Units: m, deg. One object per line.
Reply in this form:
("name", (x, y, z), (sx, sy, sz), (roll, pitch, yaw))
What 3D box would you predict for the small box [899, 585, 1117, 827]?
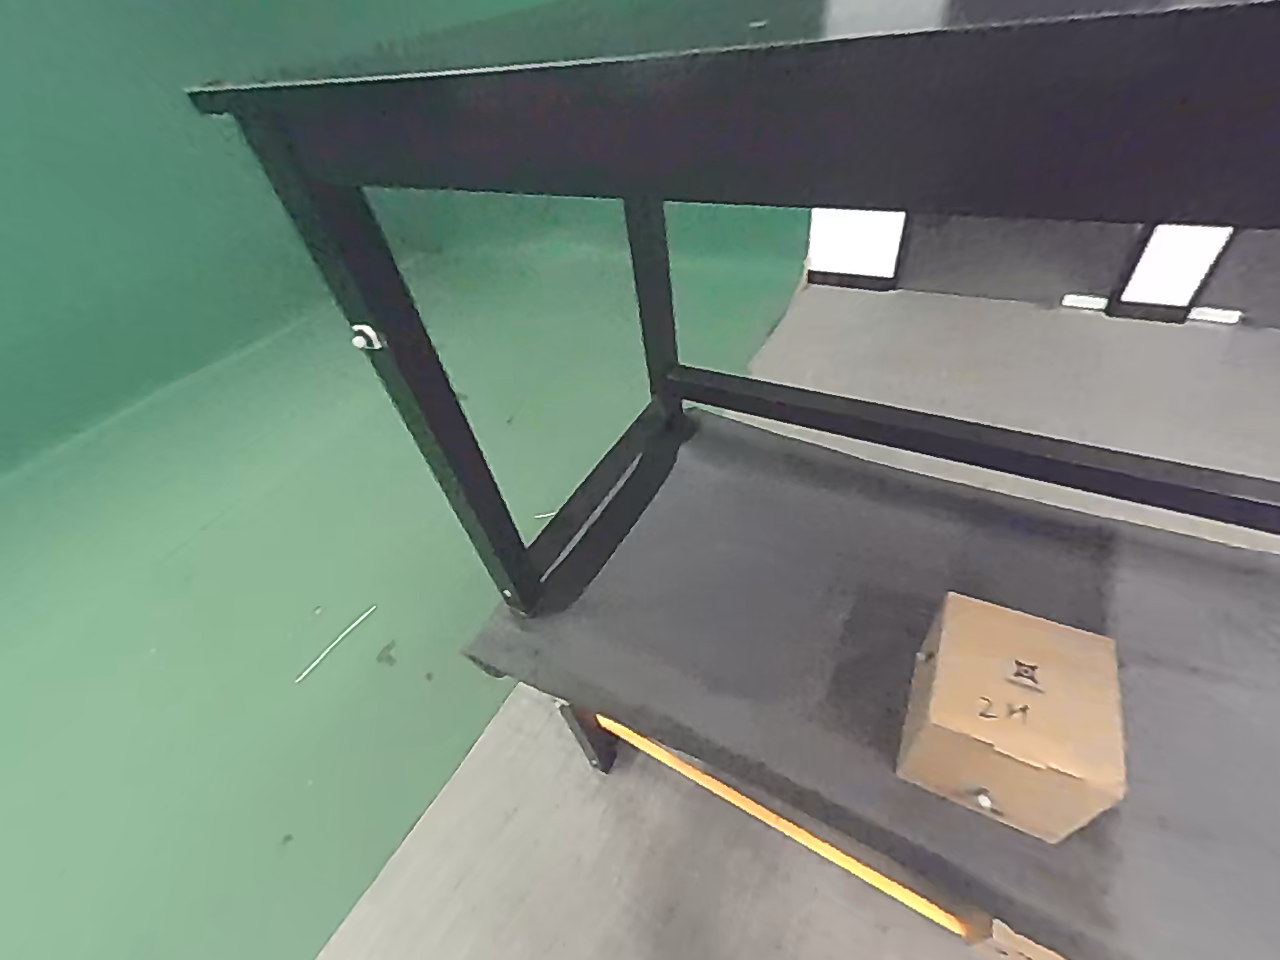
("small box", (0.420, 0.263, 0.638), (0.168, 0.176, 0.179), (16, 49, 25))
